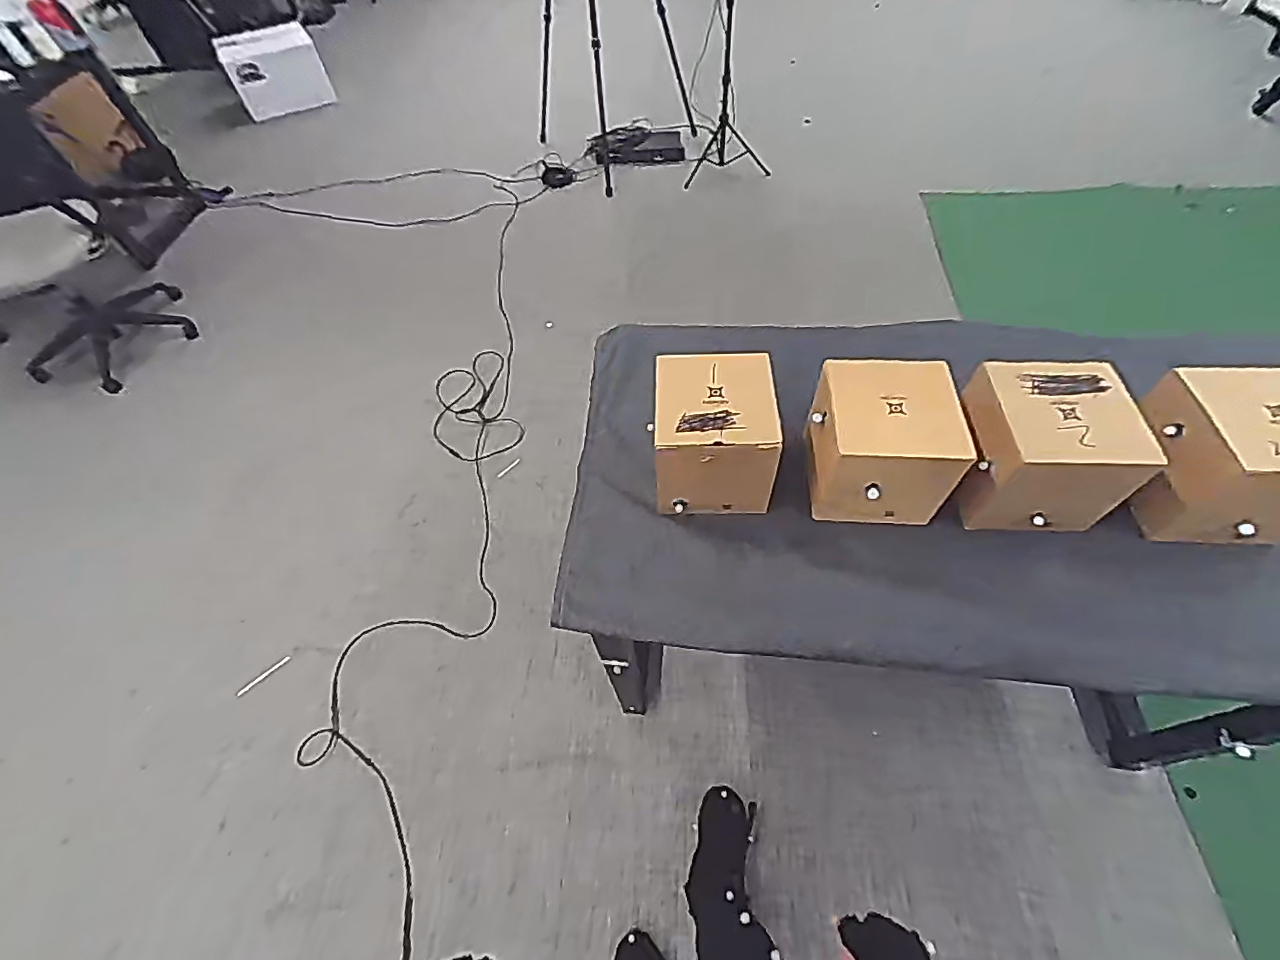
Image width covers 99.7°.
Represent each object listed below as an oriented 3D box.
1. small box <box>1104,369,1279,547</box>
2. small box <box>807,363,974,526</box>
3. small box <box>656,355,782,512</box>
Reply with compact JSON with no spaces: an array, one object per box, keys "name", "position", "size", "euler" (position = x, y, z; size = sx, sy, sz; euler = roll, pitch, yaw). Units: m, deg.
[{"name":"small box","position":[0.790,-0.028,0.732],"size":[0.168,0.176,0.179],"euler":[1,55,6]},{"name":"small box","position":[0.344,-0.048,0.784],"size":[0.168,0.176,0.179],"euler":[2,54,6]},{"name":"small box","position":[0.111,-0.064,0.809],"size":[0.168,0.176,0.179],"euler":[0,54,4]}]
